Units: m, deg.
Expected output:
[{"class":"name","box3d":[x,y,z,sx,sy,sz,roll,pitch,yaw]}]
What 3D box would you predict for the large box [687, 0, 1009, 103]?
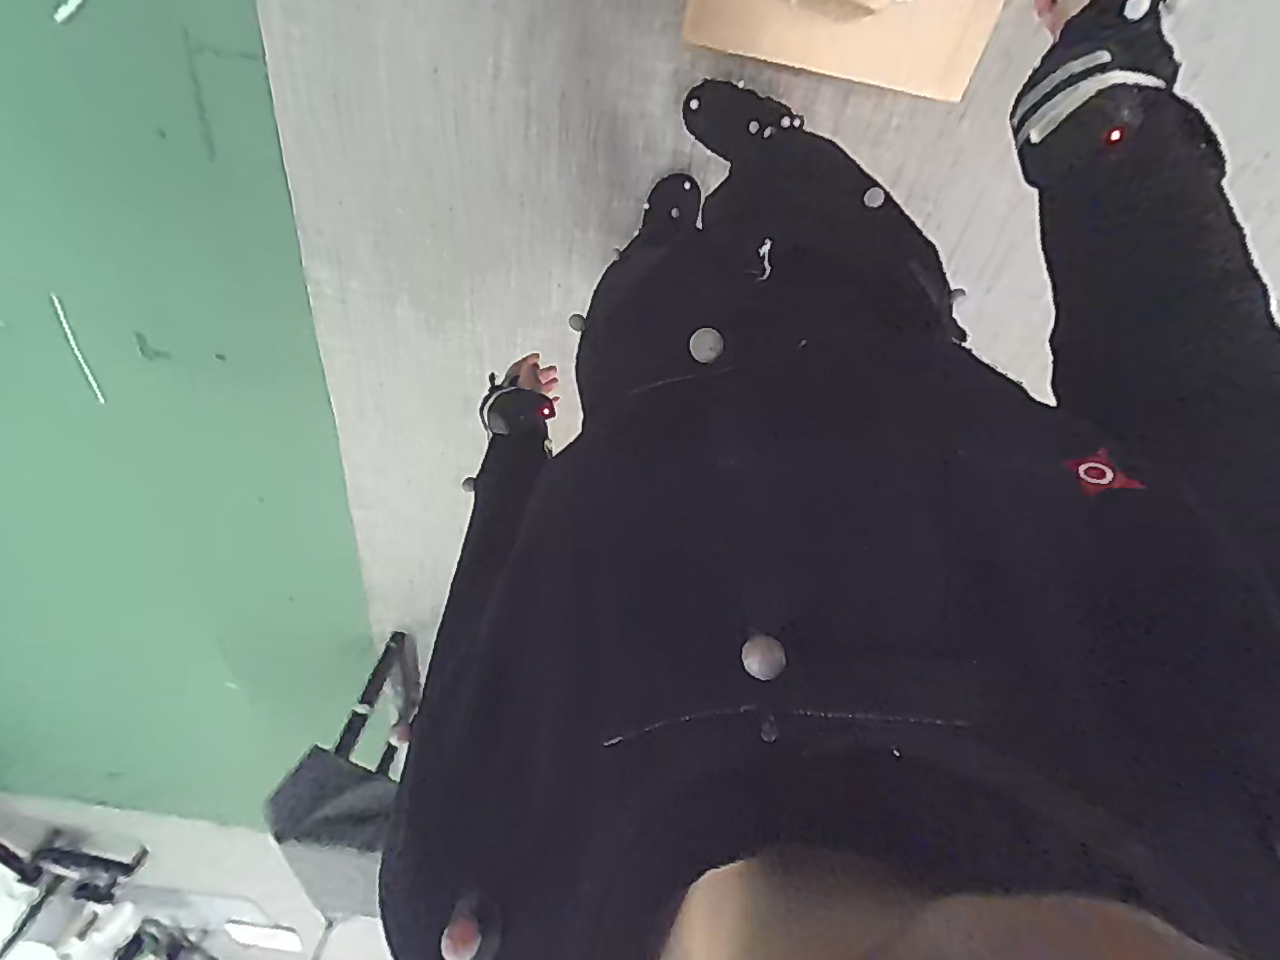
[{"class":"large box","box3d":[0.295,-0.773,0.782,0.408,0.320,0.320,10,128,-4]}]
